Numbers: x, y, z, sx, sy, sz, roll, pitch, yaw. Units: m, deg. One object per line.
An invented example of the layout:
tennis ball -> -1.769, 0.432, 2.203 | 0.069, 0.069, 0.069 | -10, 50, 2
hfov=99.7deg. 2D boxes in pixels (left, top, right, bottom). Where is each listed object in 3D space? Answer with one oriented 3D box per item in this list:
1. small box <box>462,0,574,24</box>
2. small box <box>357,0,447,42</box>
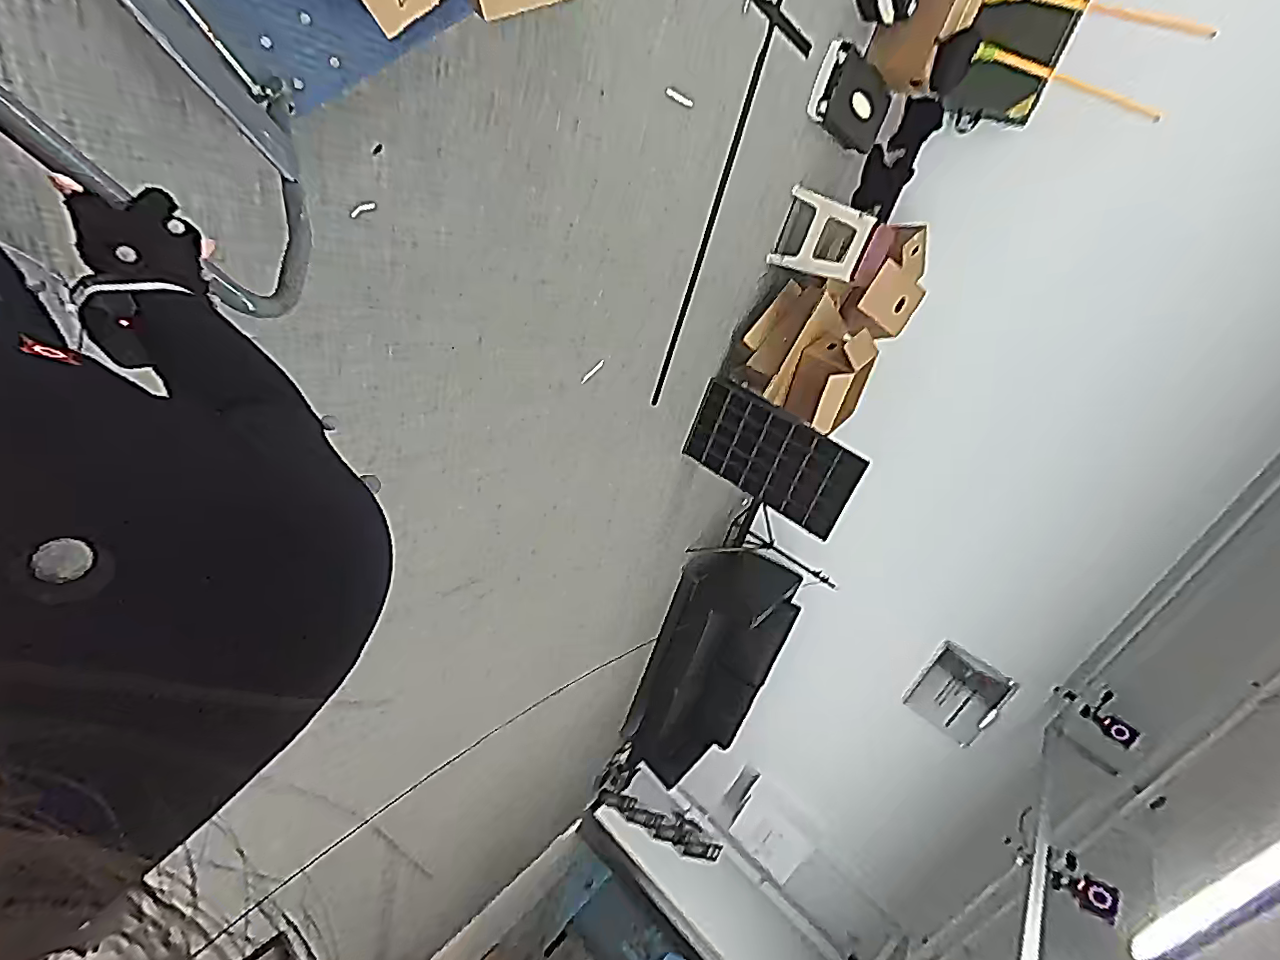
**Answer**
small box -> -0.234, -0.924, 0.923 | 0.179, 0.176, 0.168 | -24, 148, -12
small box -> -0.414, -0.859, 0.859 | 0.168, 0.176, 0.179 | -34, 149, 4
